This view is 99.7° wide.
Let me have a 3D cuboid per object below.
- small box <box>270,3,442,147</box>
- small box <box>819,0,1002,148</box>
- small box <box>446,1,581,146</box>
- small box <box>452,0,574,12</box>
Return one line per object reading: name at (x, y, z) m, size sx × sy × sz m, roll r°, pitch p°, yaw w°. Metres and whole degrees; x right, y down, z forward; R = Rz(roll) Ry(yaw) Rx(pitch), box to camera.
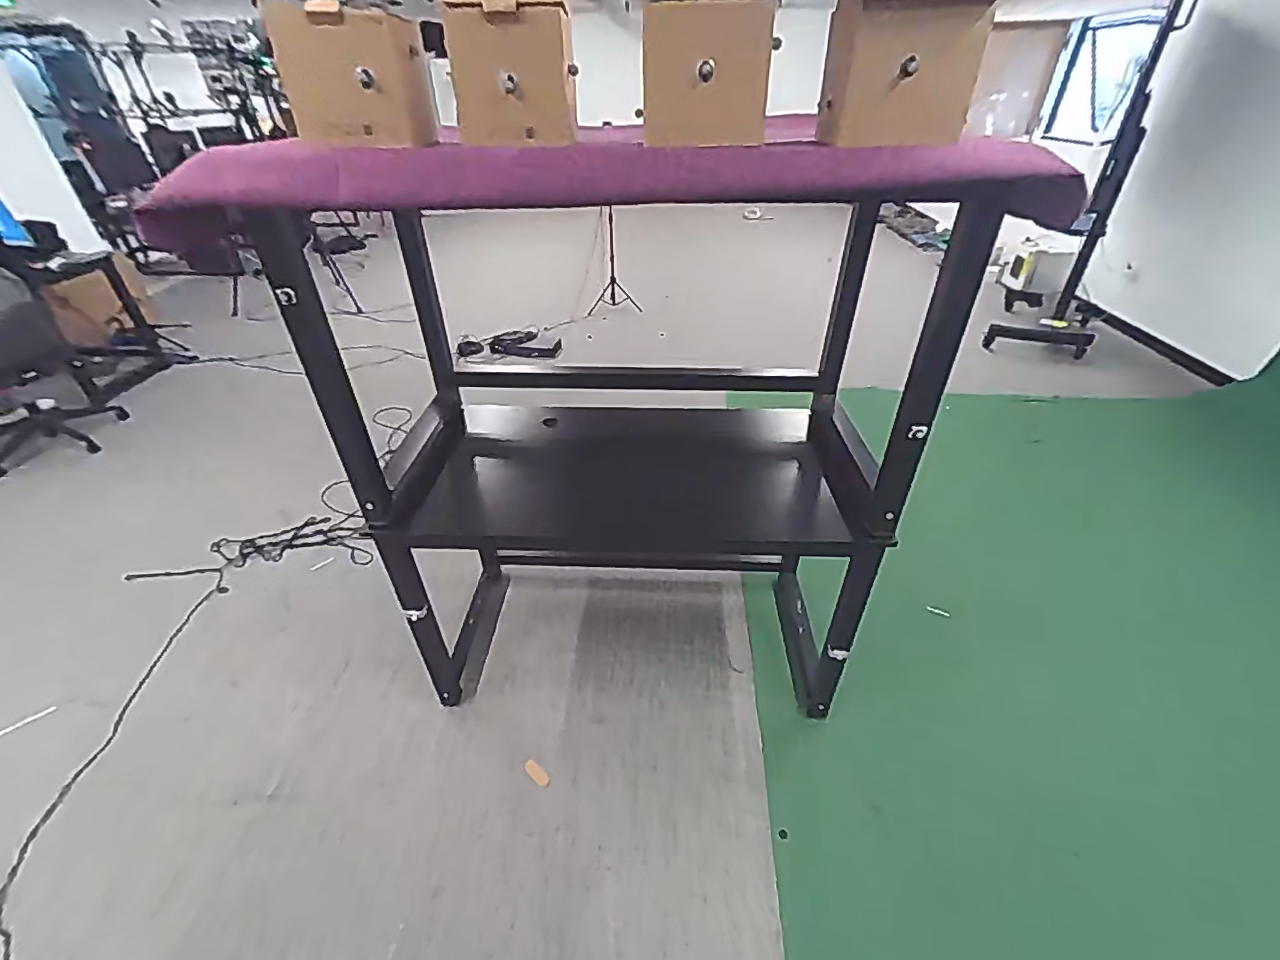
small box at (-0.423, -0.623, 0.845) m, size 0.168 × 0.176 × 0.179 m, roll -1°, pitch 35°, yaw -3°
small box at (0.378, -0.596, 0.793) m, size 0.179 × 0.176 × 0.168 m, roll 0°, pitch 36°, yaw 4°
small box at (-0.182, -0.625, 0.844) m, size 0.168 × 0.176 × 0.179 m, roll -1°, pitch 36°, yaw -1°
small box at (-0.182, -0.756, 0.746) m, size 0.168 × 0.176 × 0.179 m, roll -2°, pitch 34°, yaw -2°
